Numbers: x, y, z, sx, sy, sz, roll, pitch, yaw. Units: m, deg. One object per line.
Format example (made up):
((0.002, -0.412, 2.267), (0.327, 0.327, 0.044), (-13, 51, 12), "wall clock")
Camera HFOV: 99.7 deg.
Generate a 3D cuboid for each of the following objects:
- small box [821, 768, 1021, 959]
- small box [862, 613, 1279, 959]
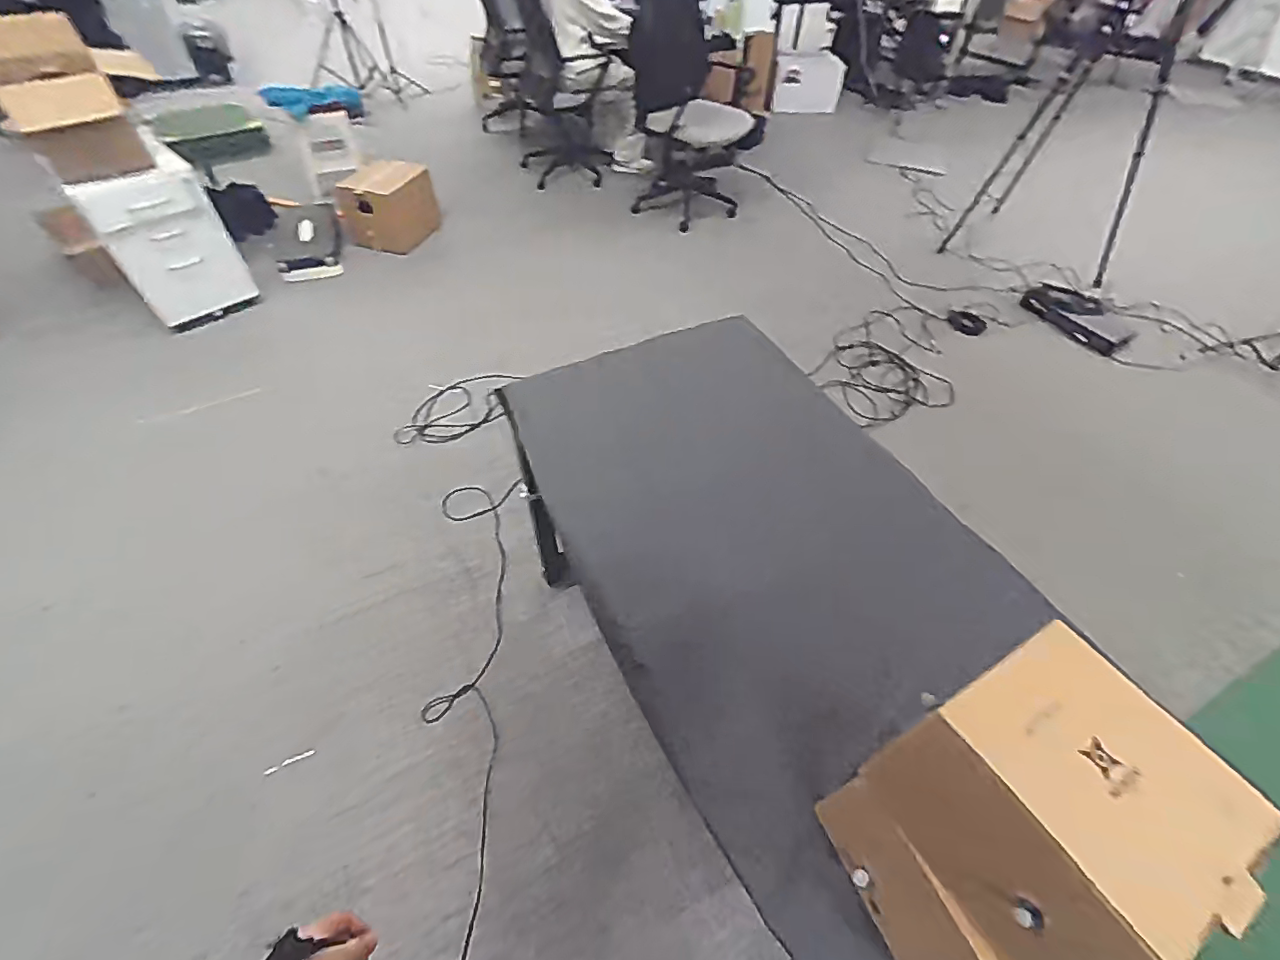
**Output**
((0.321, 0.366, 0.562), (0.179, 0.176, 0.168), (-15, 50, -17), "small box")
((0.325, 0.250, 0.447), (0.168, 0.176, 0.179), (-21, 51, -23), "small box")
